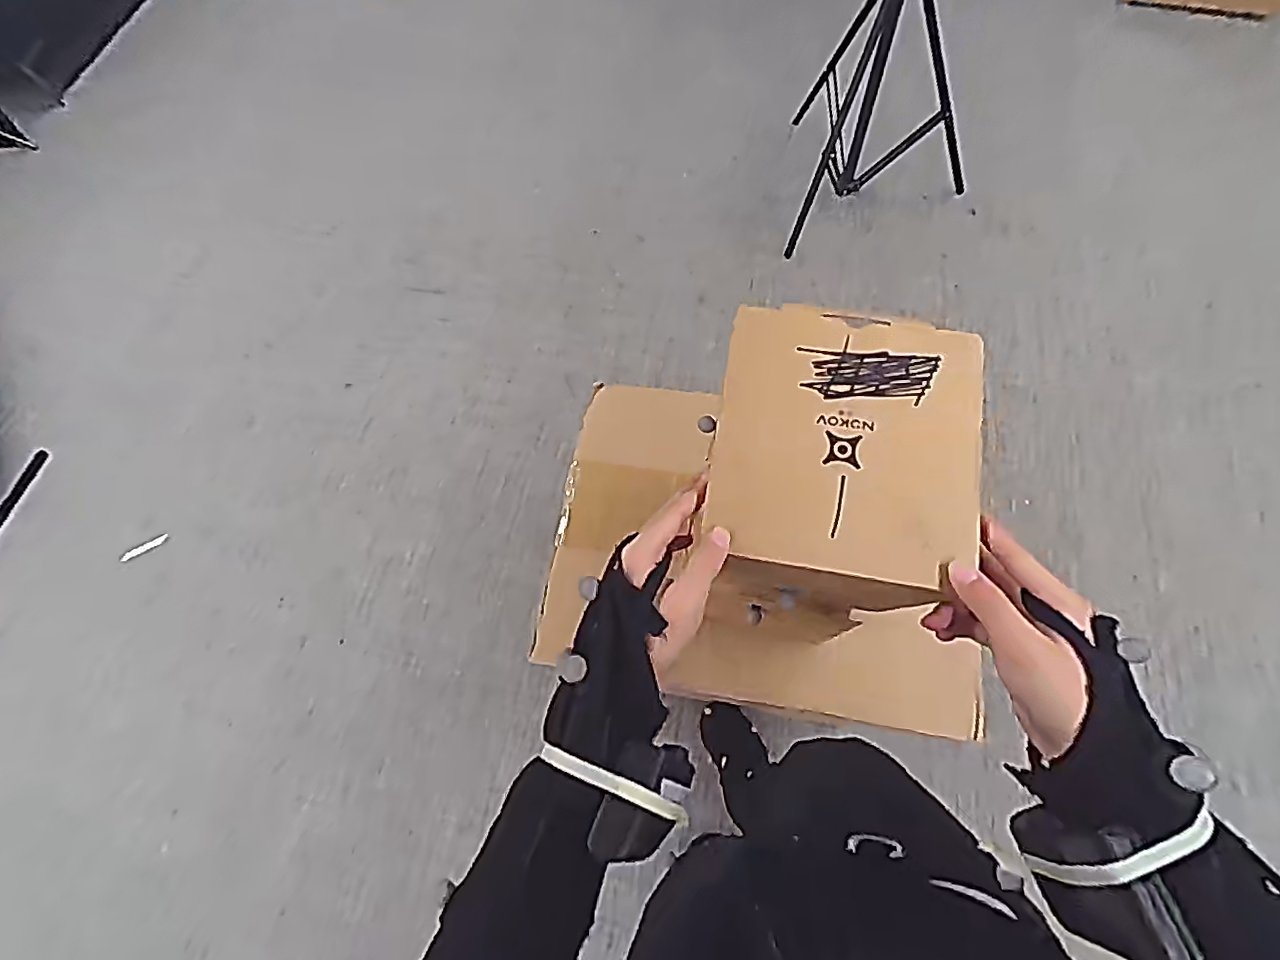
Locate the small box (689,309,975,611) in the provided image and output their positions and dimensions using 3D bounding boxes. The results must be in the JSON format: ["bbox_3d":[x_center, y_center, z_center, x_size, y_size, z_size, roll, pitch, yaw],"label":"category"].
[{"bbox_3d":[0.133,-0.003,0.426,0.168,0.176,0.179,10,75,7],"label":"small box"}]

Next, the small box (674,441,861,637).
[{"bbox_3d":[0.144,0.073,0.607,0.179,0.176,0.168,11,69,11],"label":"small box"}]
